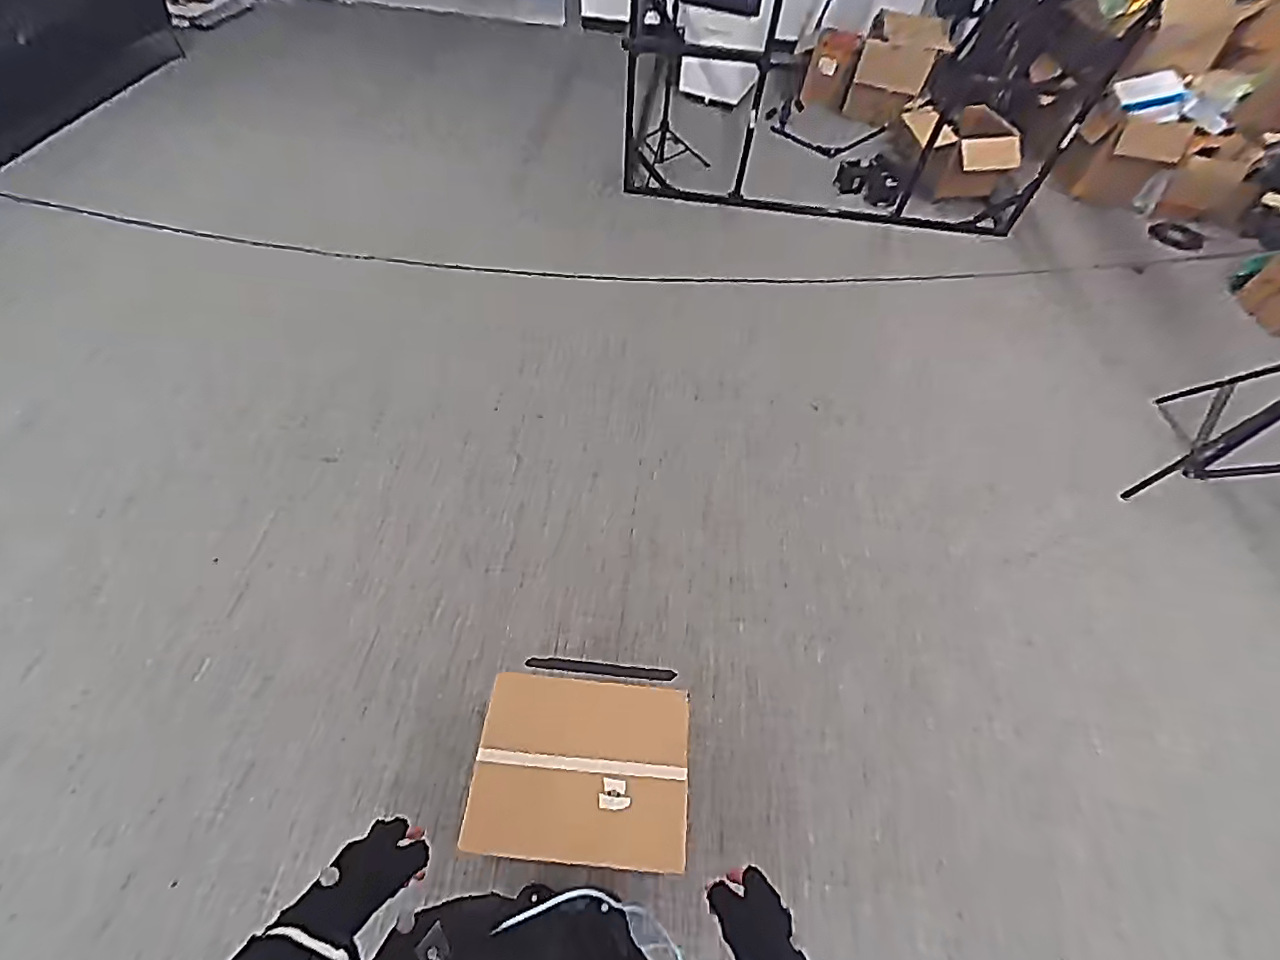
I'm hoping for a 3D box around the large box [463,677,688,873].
[{"bbox_3d":[-0.120,0.640,1.161,0.408,0.320,0.320,6,55,-1],"label":"large box"}]
